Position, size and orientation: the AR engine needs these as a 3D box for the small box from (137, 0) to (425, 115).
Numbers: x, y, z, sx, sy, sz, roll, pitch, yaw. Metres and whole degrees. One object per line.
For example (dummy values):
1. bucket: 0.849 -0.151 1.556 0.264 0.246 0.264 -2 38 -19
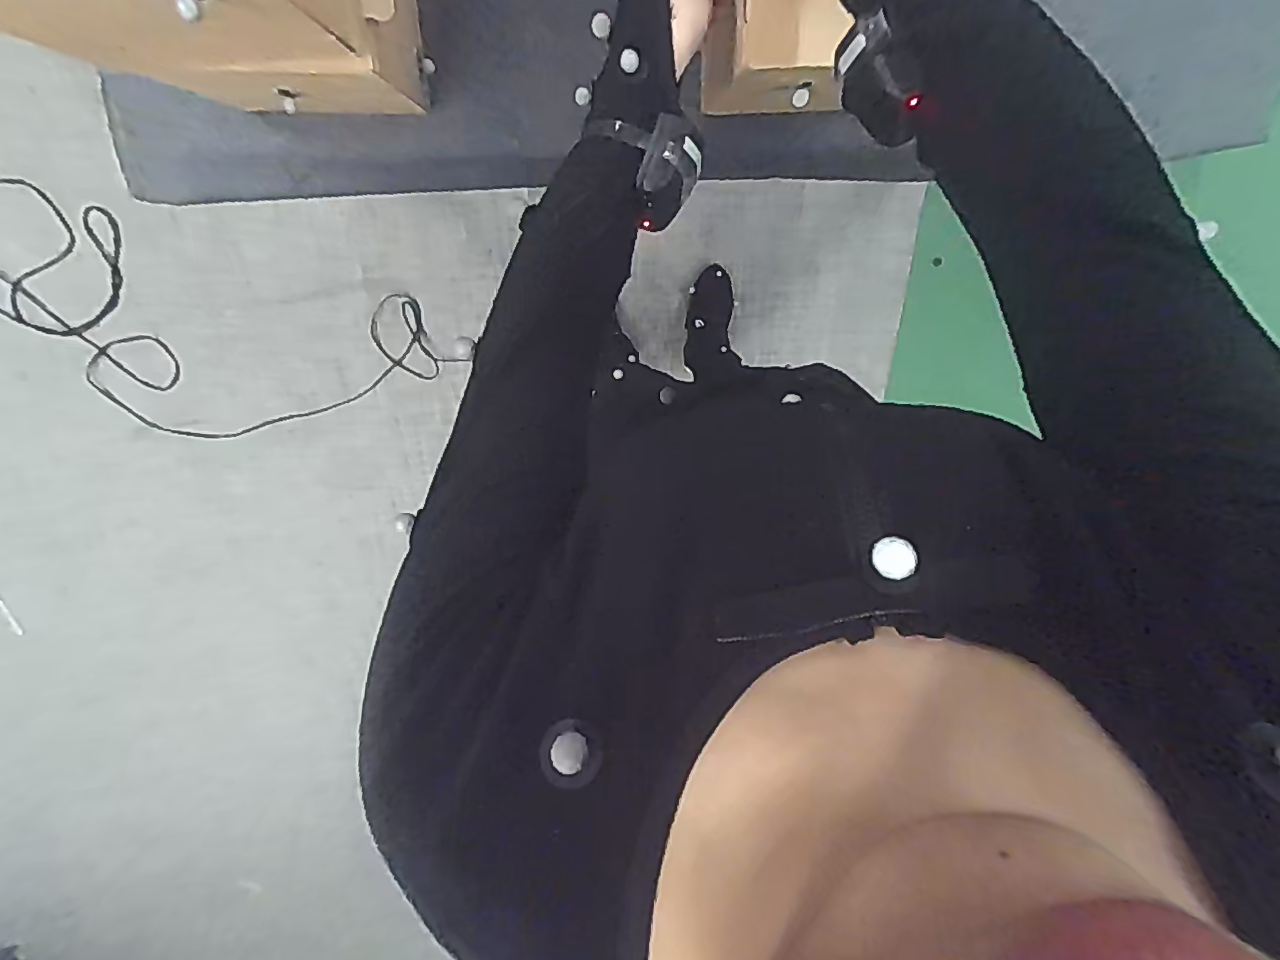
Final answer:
1. small box: -0.282 -0.401 0.426 0.179 0.176 0.168 -2 116 -5

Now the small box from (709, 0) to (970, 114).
1. small box: 0.157 -0.426 0.461 0.179 0.176 0.168 -4 115 -2

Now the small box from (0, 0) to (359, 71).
1. small box: -0.282 -0.333 0.278 0.179 0.176 0.168 -6 116 -3
